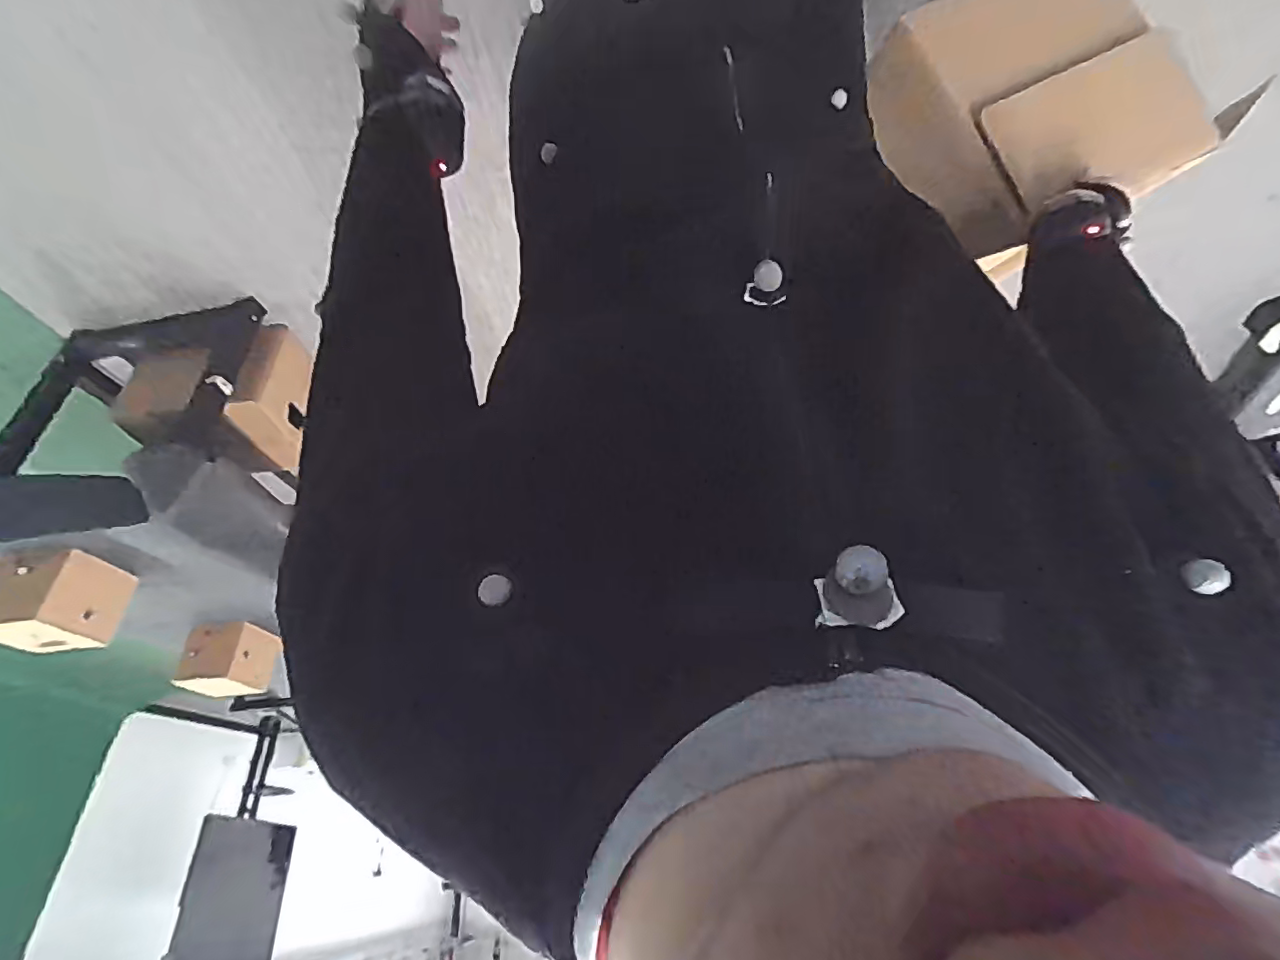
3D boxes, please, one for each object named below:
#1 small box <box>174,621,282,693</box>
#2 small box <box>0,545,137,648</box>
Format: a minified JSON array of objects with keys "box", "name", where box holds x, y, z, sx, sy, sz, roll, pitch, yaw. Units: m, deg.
[{"box":[-1.221,0.526,1.617,0.168,0.176,0.179,-5,148,2],"name":"small box"},{"box":[-1.288,0.260,1.198,0.168,0.176,0.179,-6,146,0],"name":"small box"}]
